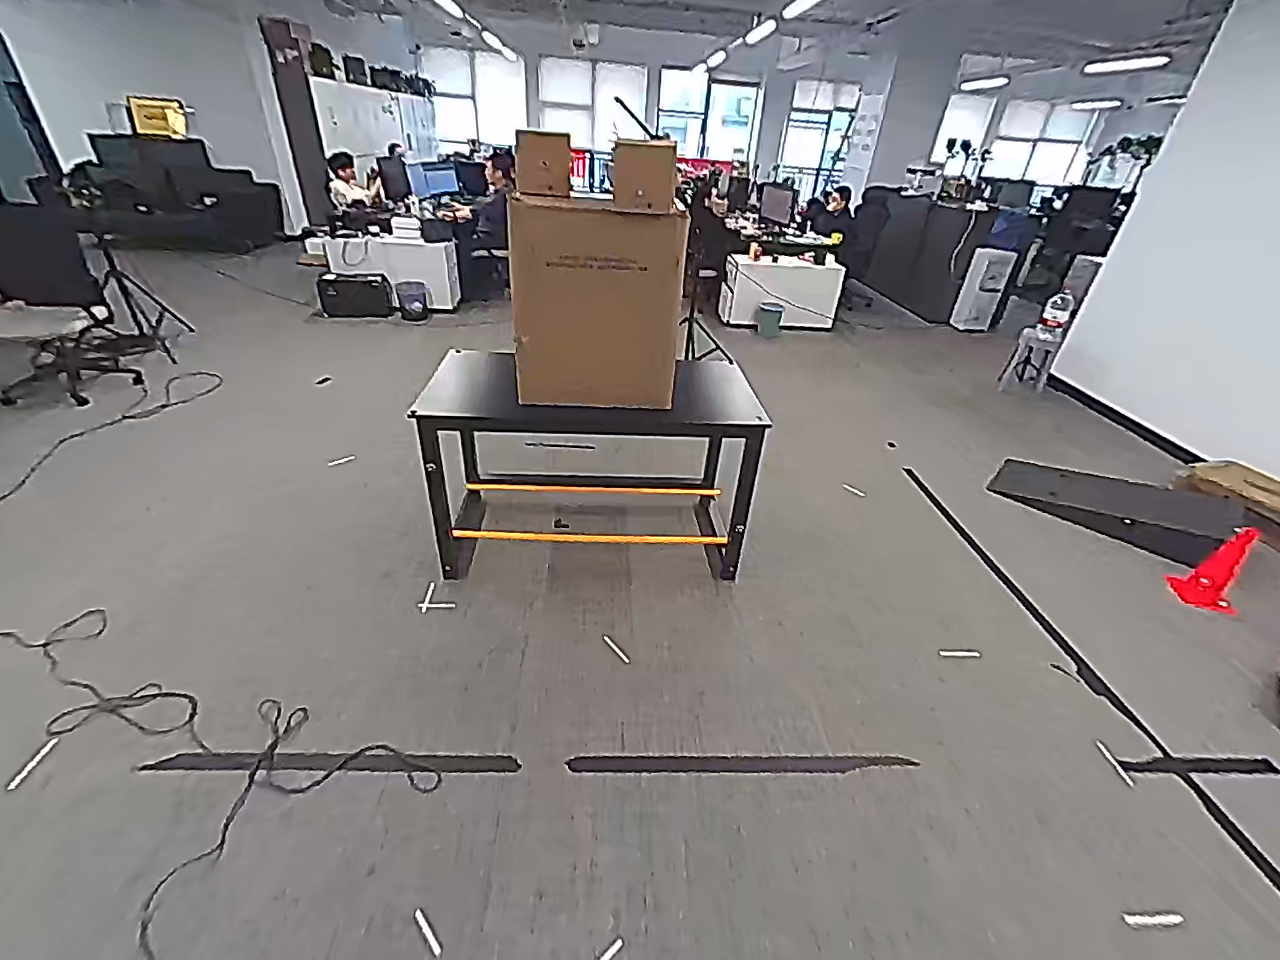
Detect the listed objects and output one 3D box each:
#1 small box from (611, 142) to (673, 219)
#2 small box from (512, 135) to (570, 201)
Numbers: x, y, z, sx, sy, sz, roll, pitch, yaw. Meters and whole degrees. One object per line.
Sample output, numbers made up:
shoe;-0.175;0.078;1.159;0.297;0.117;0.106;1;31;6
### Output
small box;0.008;-0.850;1.531;0.168;0.176;0.179;2;36;2
small box;-0.304;-0.971;1.684;0.168;0.176;0.179;-1;32;-8
